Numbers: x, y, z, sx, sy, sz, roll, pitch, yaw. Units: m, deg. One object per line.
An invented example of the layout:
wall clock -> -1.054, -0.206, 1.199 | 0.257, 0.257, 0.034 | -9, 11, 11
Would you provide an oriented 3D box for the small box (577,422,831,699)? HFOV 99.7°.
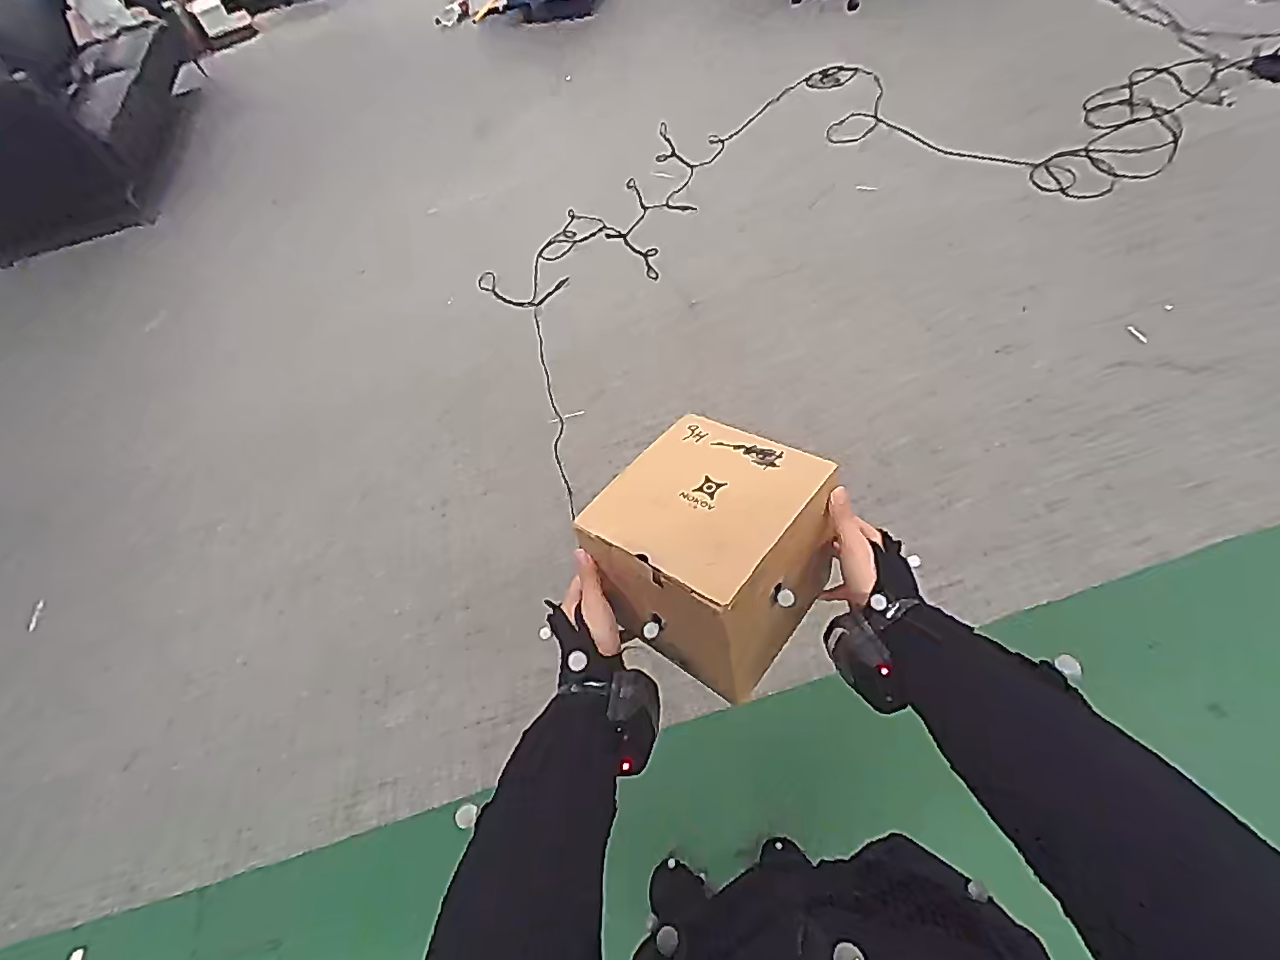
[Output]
small box -> 0.073, 0.077, 0.531 | 0.168, 0.176, 0.179 | 25, 56, 36
